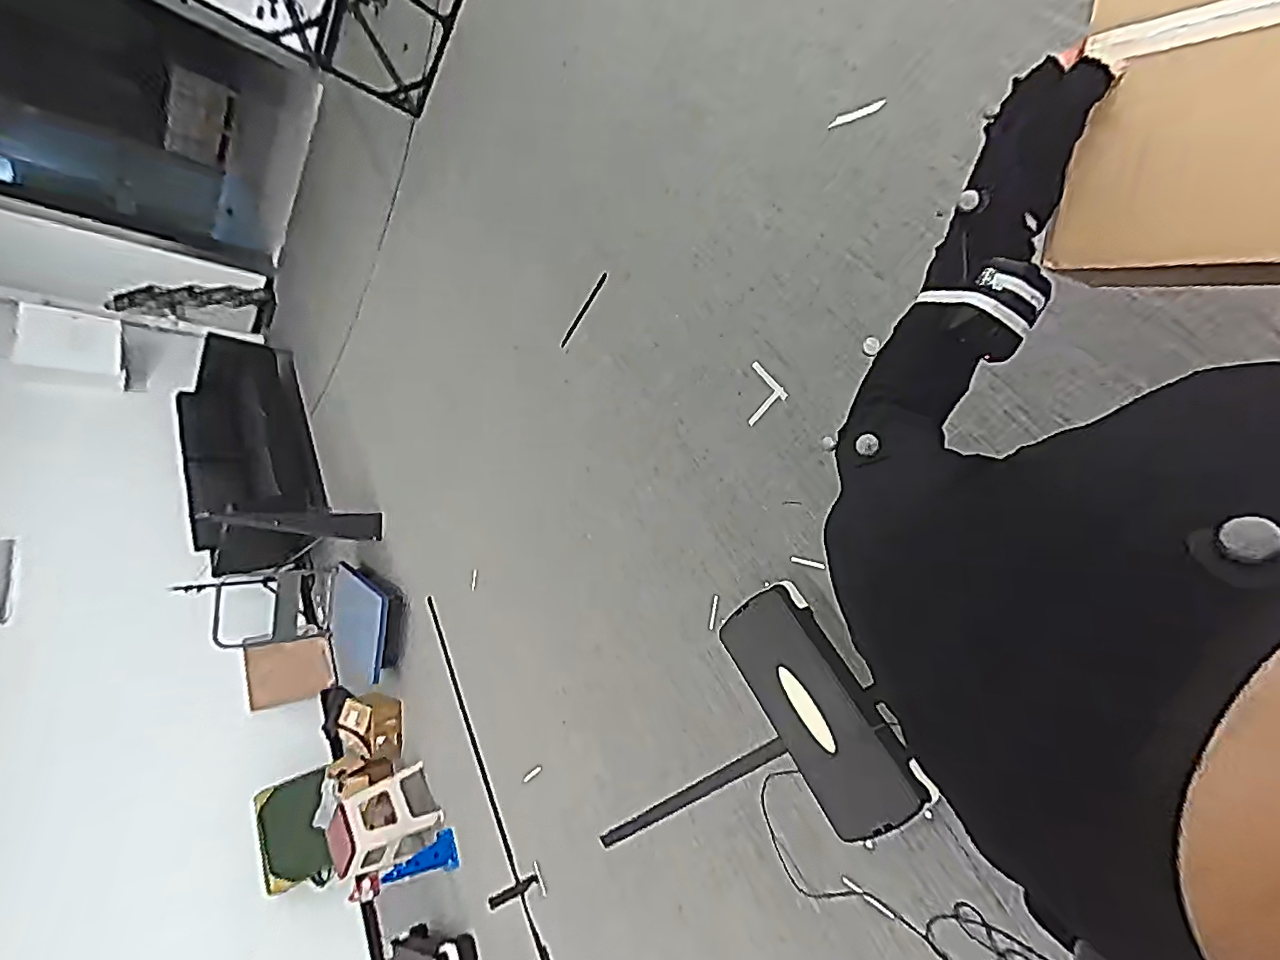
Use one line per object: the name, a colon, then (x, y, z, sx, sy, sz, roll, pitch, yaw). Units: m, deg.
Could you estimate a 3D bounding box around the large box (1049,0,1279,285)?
large box: (0.586, -0.324, 0.390, 0.408, 0.320, 0.320, 14, 112, 41)
